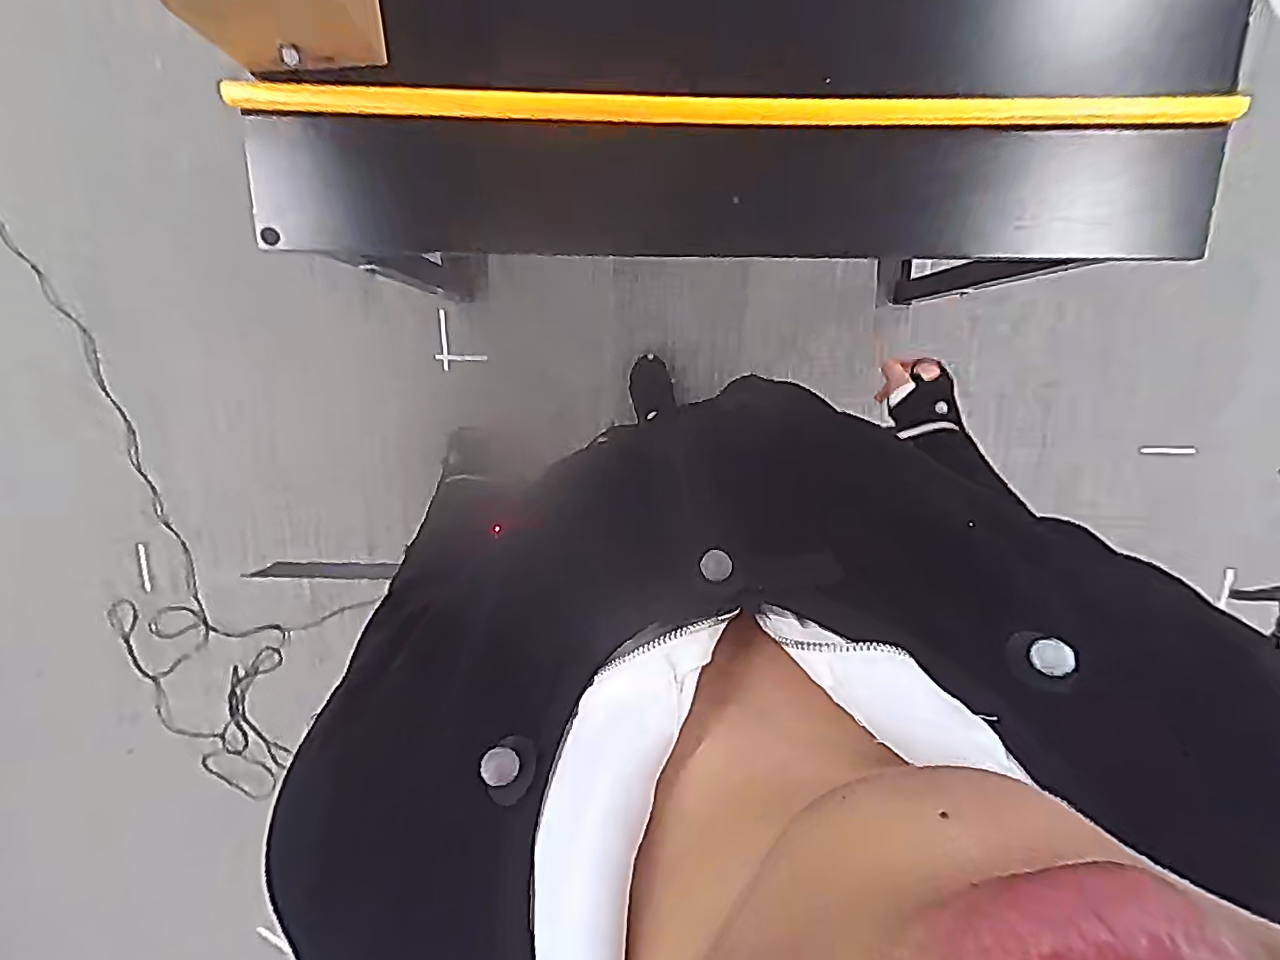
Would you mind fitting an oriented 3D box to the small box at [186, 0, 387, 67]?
[{"bbox_3d":[-0.380,-0.559,0.542,0.168,0.176,0.179,-4,103,-1],"label":"small box"}]
